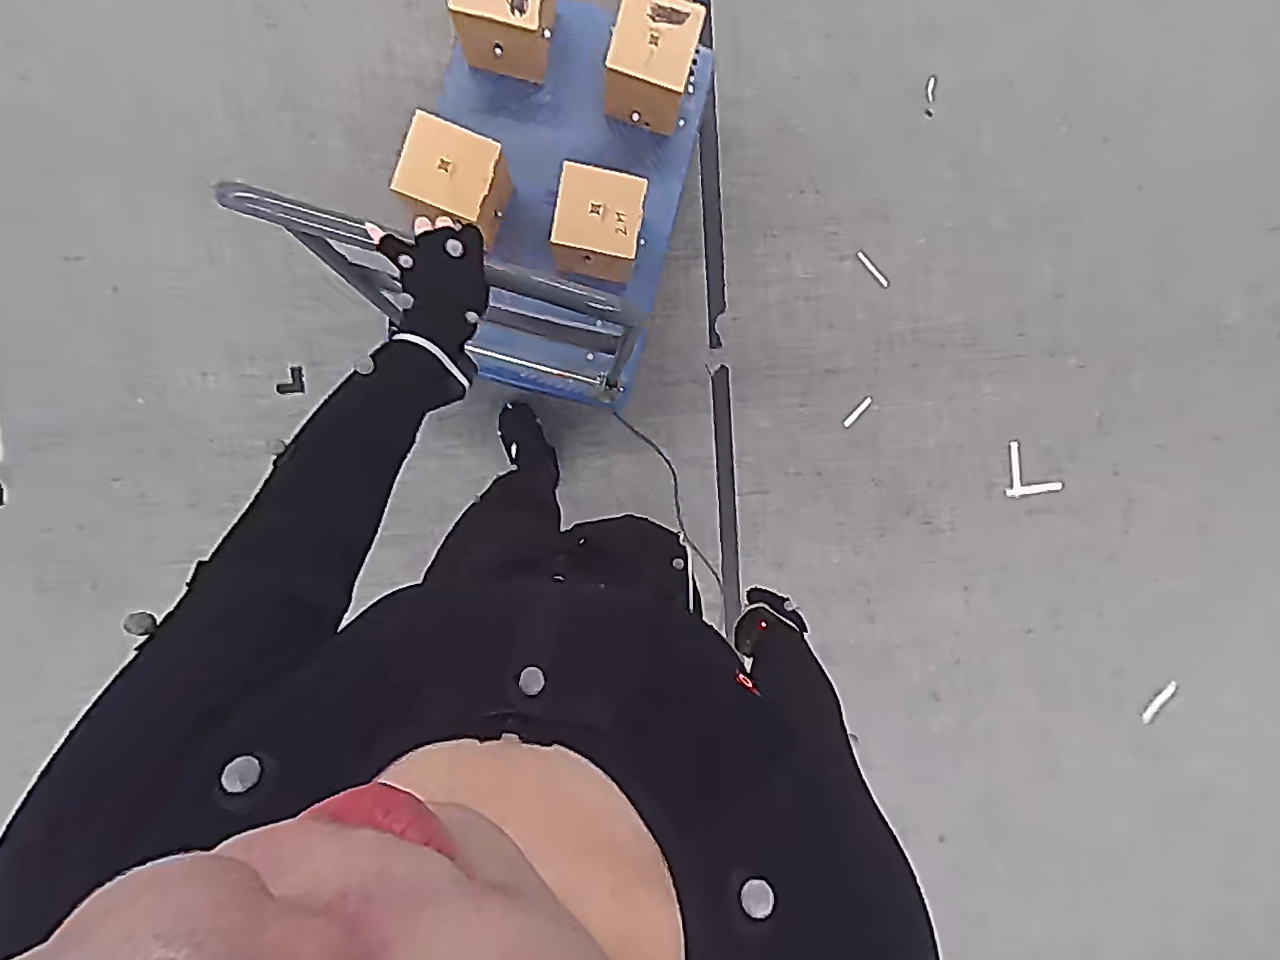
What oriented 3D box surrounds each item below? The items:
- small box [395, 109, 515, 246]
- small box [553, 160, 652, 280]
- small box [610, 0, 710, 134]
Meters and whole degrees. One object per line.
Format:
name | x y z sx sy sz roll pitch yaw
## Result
small box | -0.380 -0.625 1.142 0.179 0.176 0.168 19 92 -7
small box | -0.081 -0.552 1.171 0.179 0.176 0.168 10 93 -5
small box | 0.034 -0.894 1.158 0.168 0.176 0.179 16 93 -6
